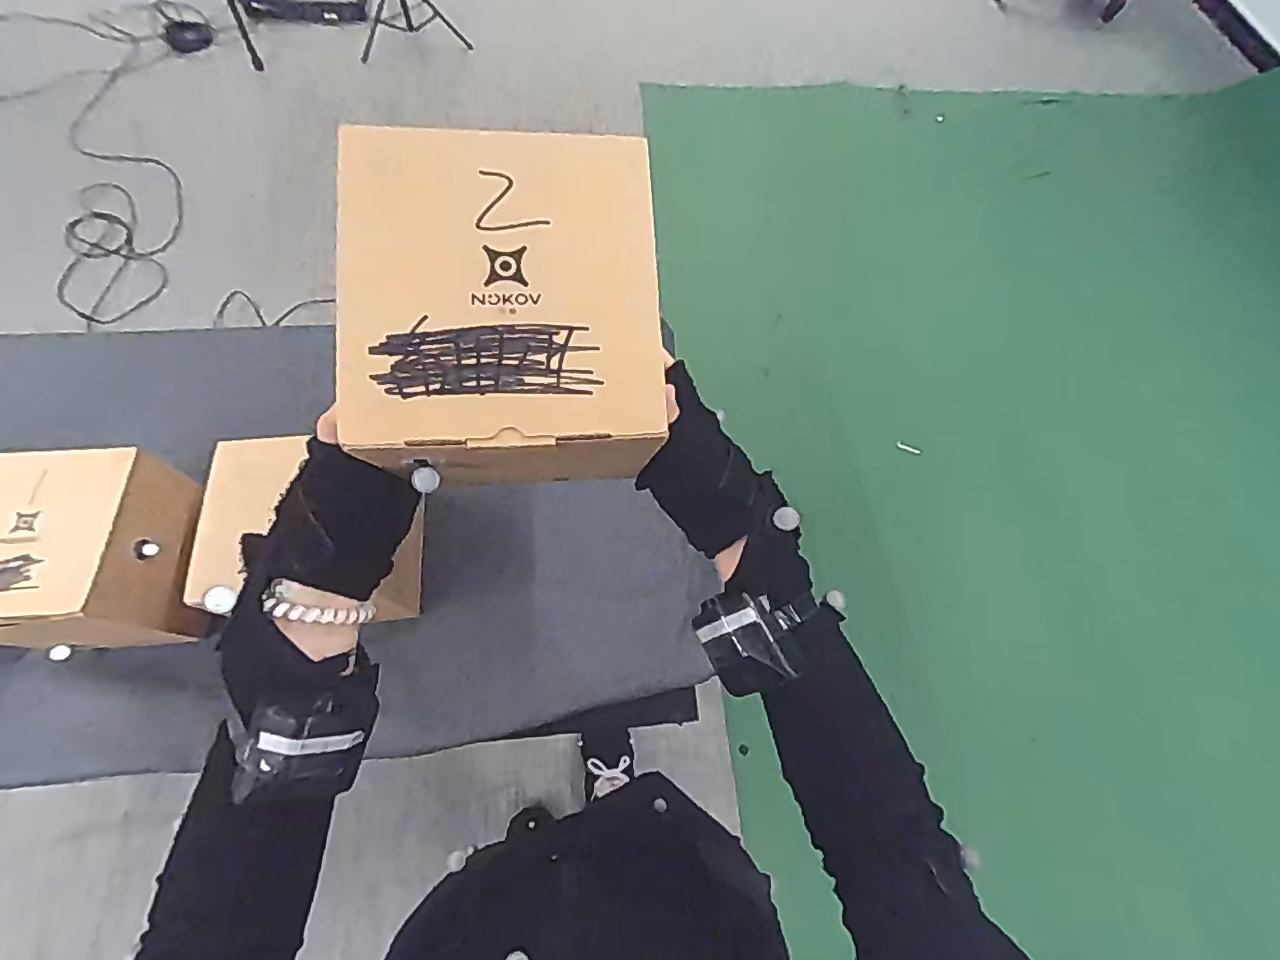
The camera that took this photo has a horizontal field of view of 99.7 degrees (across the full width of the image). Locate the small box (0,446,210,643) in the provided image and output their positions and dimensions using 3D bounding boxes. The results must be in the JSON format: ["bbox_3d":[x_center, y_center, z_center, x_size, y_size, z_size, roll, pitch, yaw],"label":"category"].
[{"bbox_3d":[-0.596,0.079,0.592,0.168,0.176,0.179,-2,66,-6],"label":"small box"}]

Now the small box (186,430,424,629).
[{"bbox_3d":[-0.355,0.062,0.616,0.168,0.176,0.179,-4,67,-6],"label":"small box"}]
